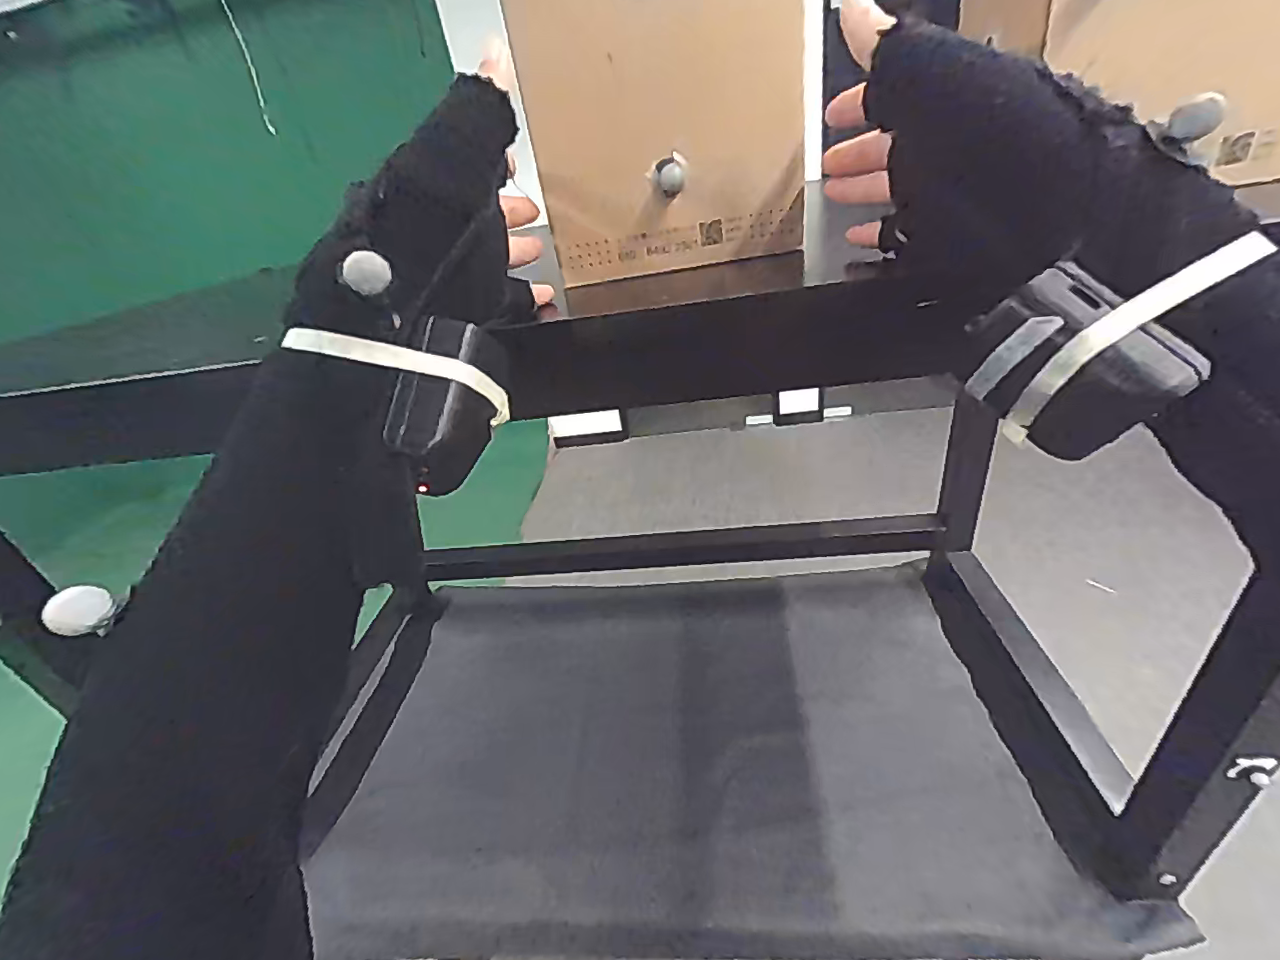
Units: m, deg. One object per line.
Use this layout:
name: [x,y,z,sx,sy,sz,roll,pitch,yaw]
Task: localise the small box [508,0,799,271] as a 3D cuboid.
small box: [0.016,-0.262,0.403,0.168,0.176,0.179,-8,29,5]
